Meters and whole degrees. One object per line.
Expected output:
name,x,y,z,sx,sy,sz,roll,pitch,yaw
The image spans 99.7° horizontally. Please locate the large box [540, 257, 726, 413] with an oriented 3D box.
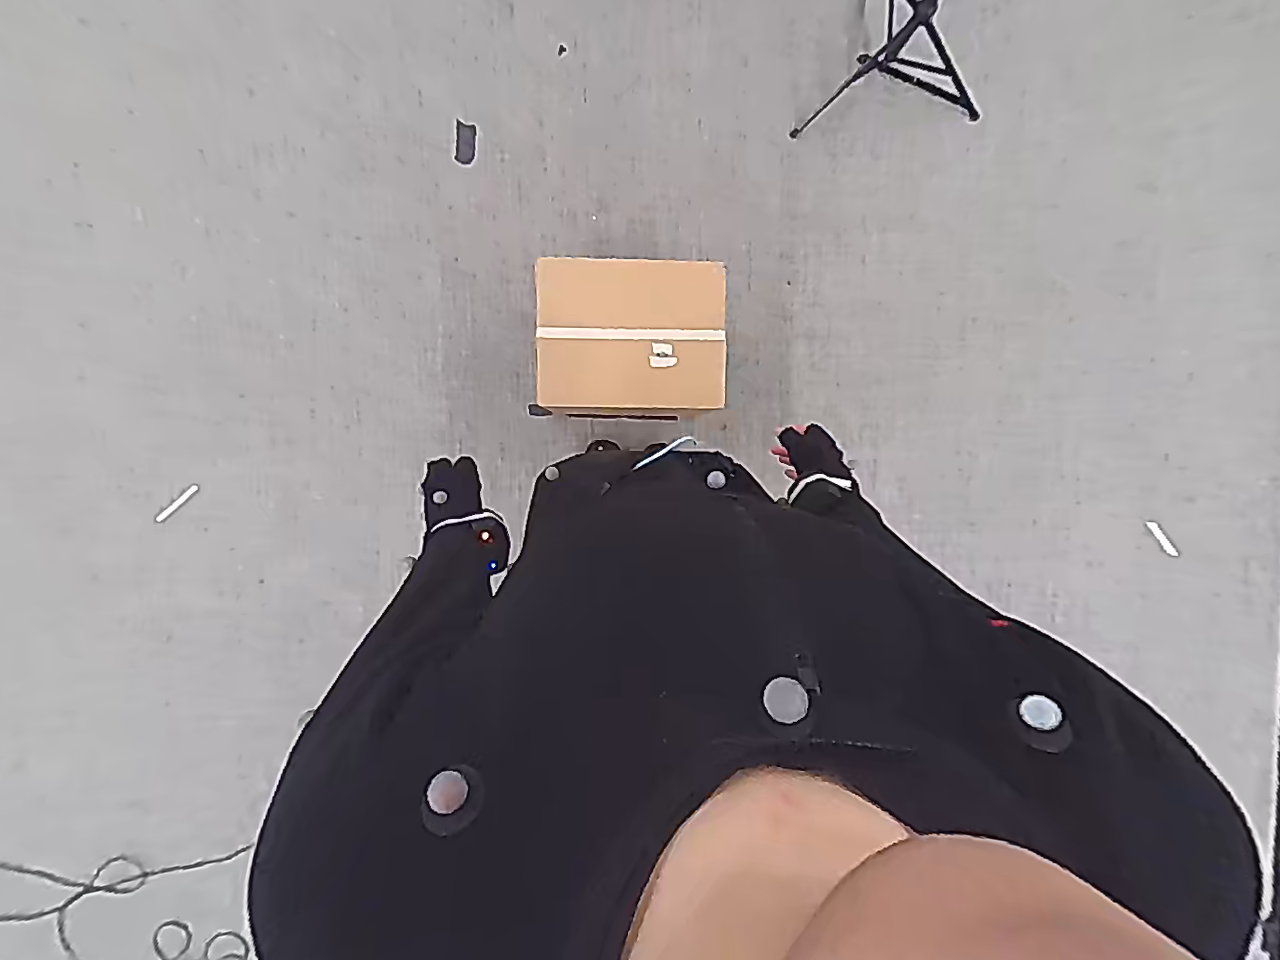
large box,-0.024,-0.328,1.310,0.408,0.320,0.320,1,94,-4
